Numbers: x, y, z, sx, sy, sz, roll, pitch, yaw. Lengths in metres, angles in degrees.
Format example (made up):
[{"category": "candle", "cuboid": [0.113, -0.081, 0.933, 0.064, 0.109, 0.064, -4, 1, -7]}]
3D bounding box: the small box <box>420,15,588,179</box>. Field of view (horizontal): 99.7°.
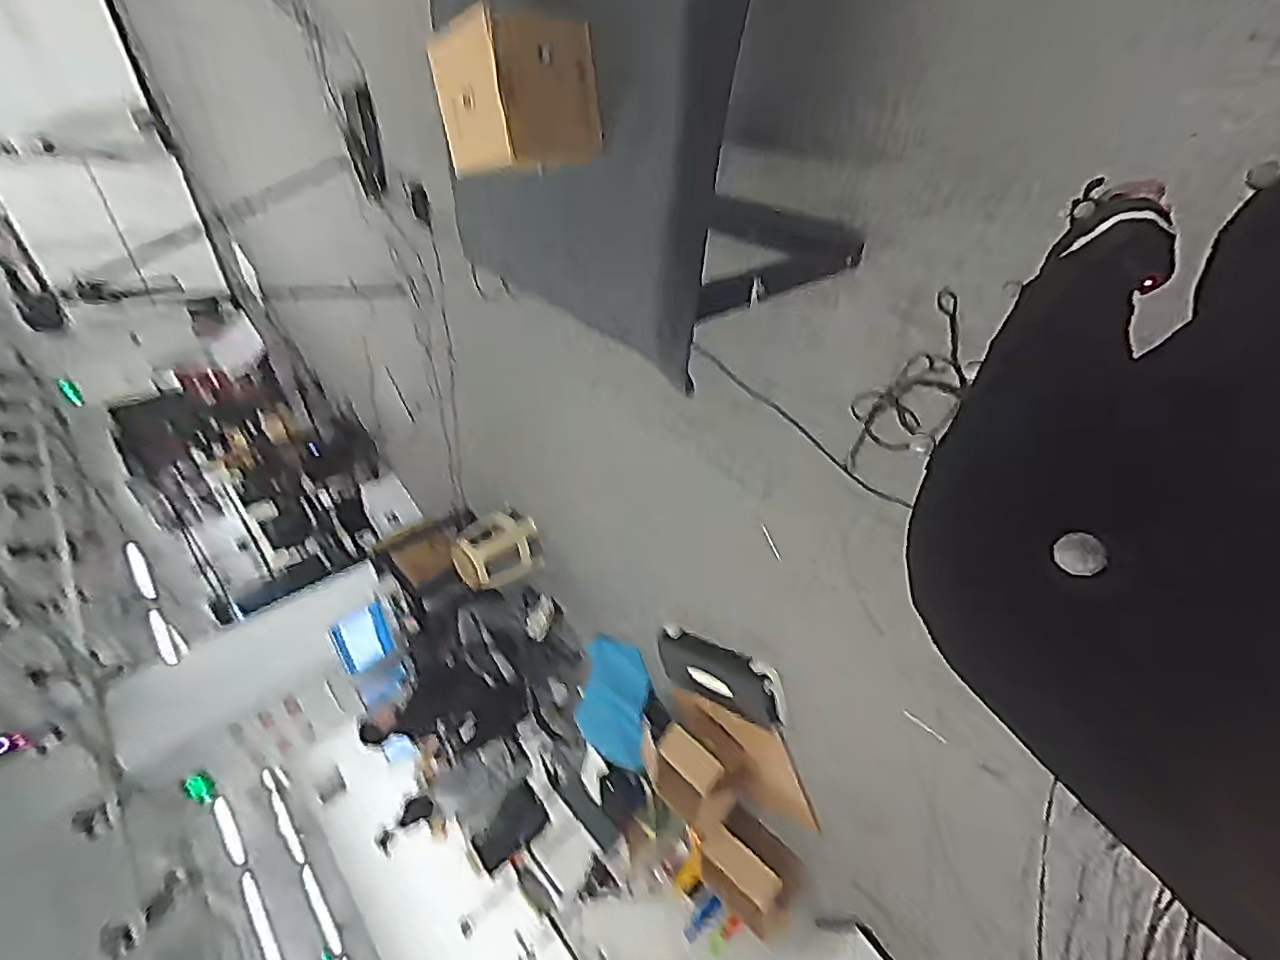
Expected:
[{"category": "small box", "cuboid": [-0.190, -0.551, 0.799, 0.179, 0.176, 0.168, 21, 127, 44]}]
